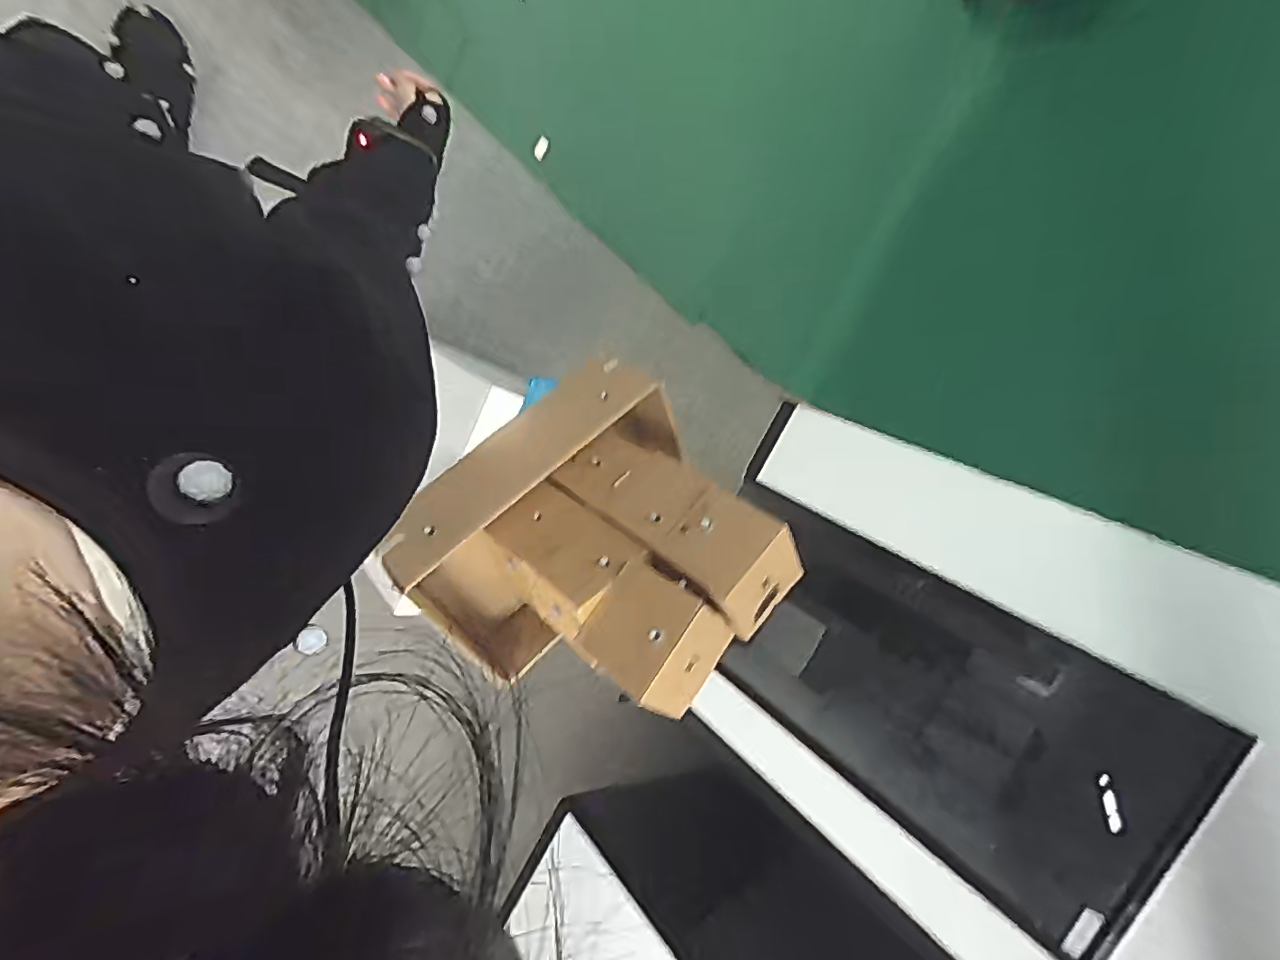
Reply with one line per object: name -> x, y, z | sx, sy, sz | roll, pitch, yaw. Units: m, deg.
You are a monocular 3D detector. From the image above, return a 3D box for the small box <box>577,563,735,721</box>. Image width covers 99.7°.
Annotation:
small box -> 0.026, 0.267, 0.909 | 0.179, 0.176, 0.168 | -54, 141, -11
